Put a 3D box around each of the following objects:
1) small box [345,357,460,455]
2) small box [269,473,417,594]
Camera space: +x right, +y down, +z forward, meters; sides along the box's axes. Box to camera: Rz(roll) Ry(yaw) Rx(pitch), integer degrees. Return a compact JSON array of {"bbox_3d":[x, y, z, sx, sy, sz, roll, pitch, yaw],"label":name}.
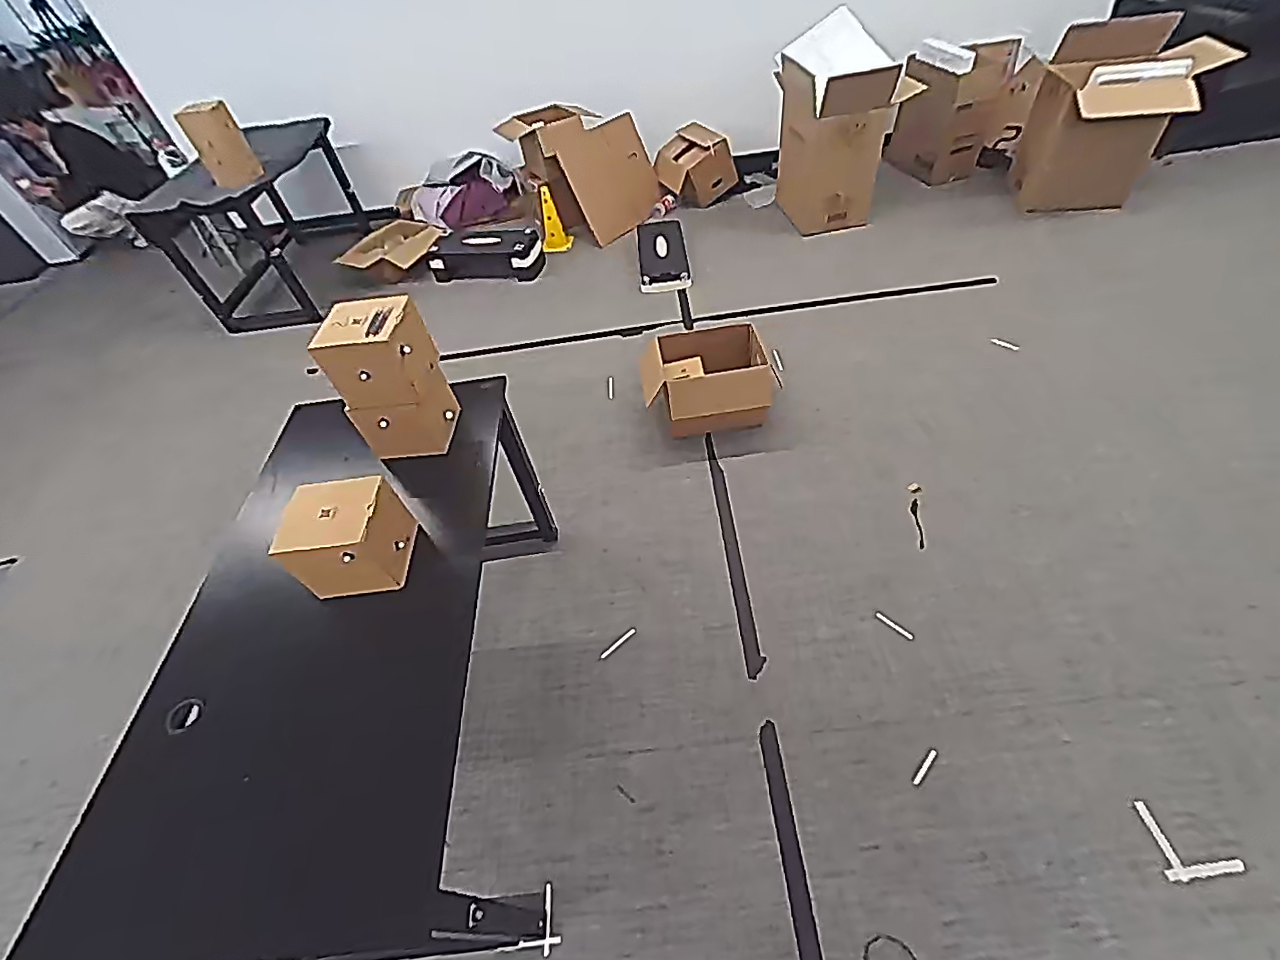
[{"bbox_3d":[-0.565,-0.174,1.311,0.179,0.176,0.168,-4,50,5],"label":"small box"},{"bbox_3d":[-0.574,0.111,1.073,0.179,0.176,0.168,-8,49,2],"label":"small box"}]
